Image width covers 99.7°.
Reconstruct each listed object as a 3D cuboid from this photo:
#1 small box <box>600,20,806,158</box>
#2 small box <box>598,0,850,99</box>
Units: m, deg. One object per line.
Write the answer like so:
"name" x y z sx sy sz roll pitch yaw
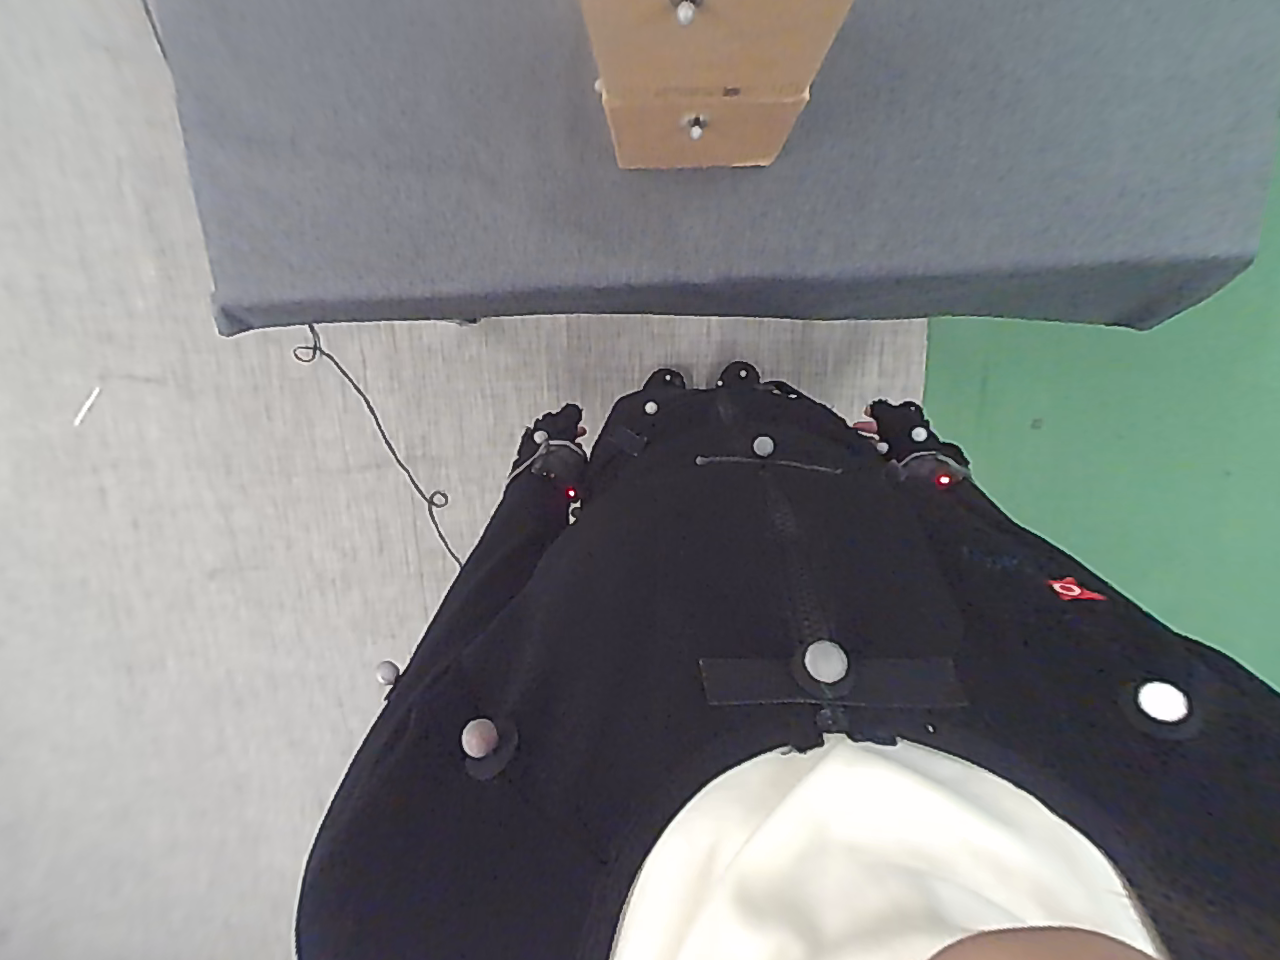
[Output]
"small box" 0.058 -0.428 0.521 0.179 0.176 0.168 0 104 2
"small box" 0.052 -0.394 0.364 0.168 0.176 0.179 -1 104 3
